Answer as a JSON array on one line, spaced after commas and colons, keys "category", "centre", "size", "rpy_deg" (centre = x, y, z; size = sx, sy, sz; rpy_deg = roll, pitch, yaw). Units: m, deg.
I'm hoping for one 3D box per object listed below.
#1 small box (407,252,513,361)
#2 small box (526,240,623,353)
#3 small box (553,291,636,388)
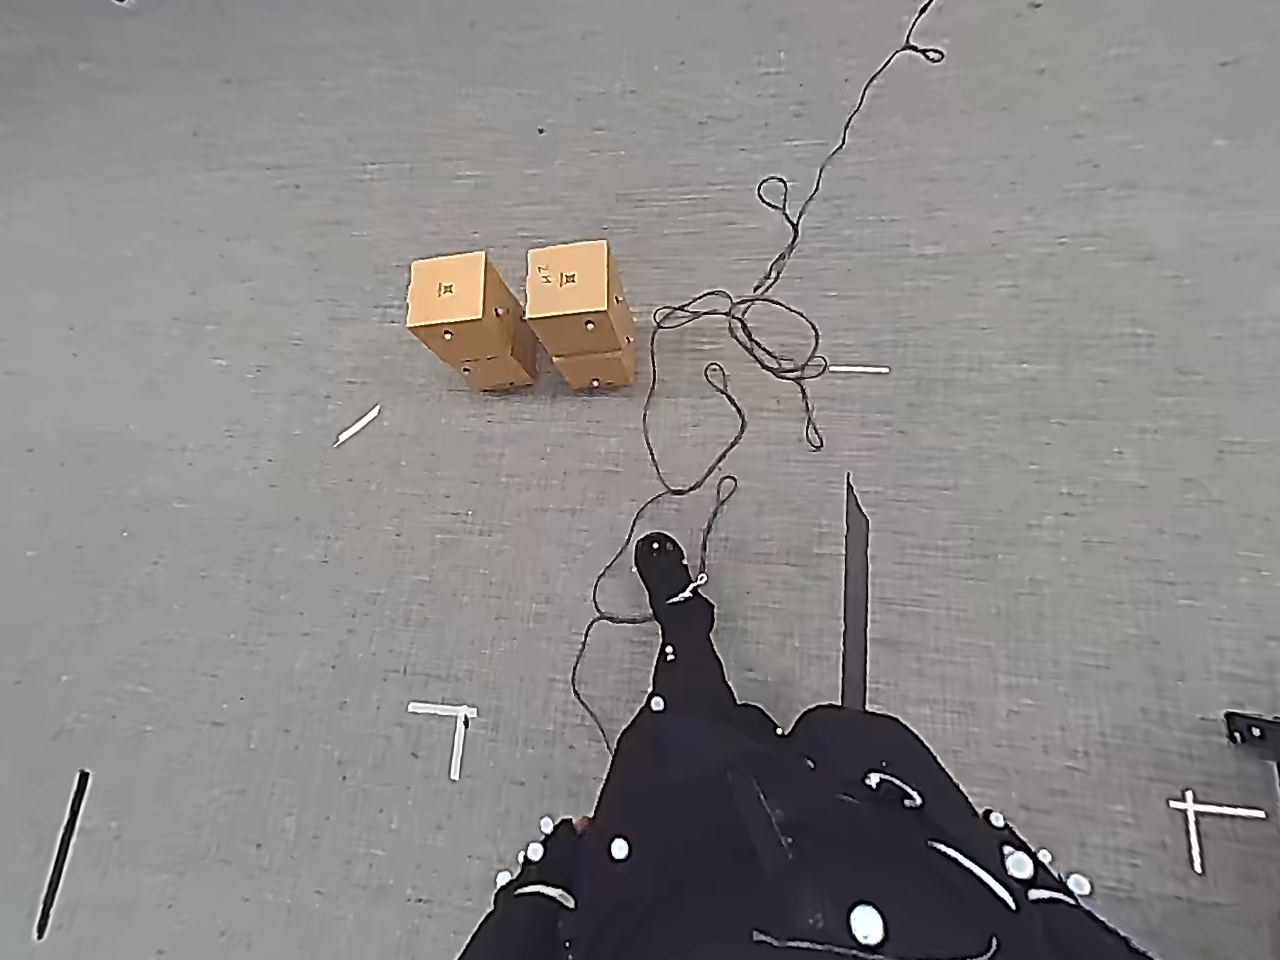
[{"category": "small box", "centre": [-0.399, -0.387, 1.230], "size": [0.179, 0.176, 0.168], "rpy_deg": [-5, 75, 9]}, {"category": "small box", "centre": [-0.134, -0.392, 1.182], "size": [0.179, 0.176, 0.168], "rpy_deg": [-3, 75, 10]}, {"category": "small box", "centre": [-0.106, -0.342, 1.337], "size": [0.168, 0.176, 0.179], "rpy_deg": [-1, 77, 10]}]
